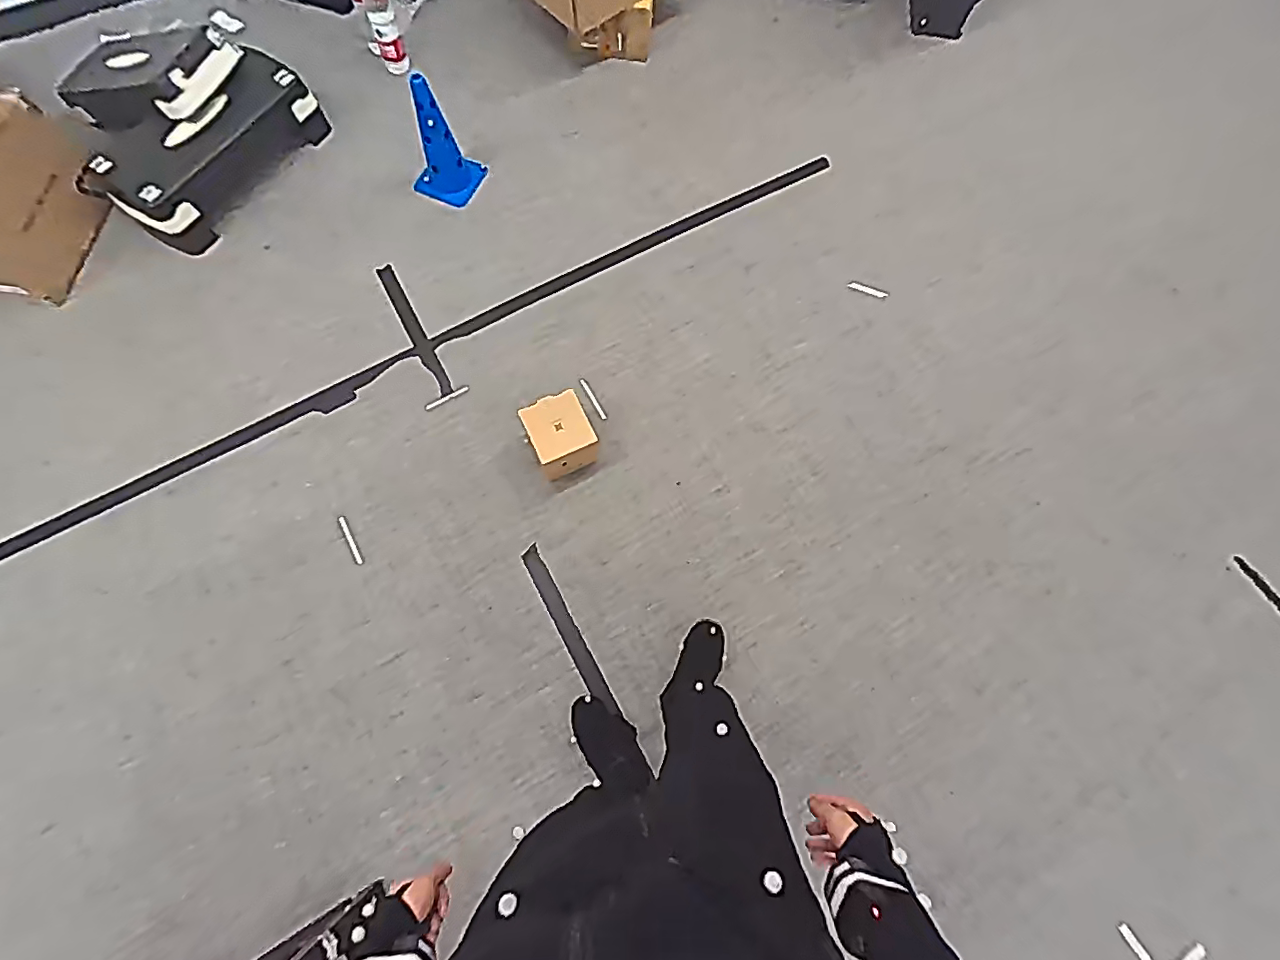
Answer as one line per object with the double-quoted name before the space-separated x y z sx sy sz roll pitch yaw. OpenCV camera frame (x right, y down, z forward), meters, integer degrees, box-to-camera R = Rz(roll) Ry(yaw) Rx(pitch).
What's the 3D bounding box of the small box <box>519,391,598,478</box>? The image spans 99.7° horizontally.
"small box" -0.225 -0.119 1.546 0.168 0.176 0.179 -24 75 -10
